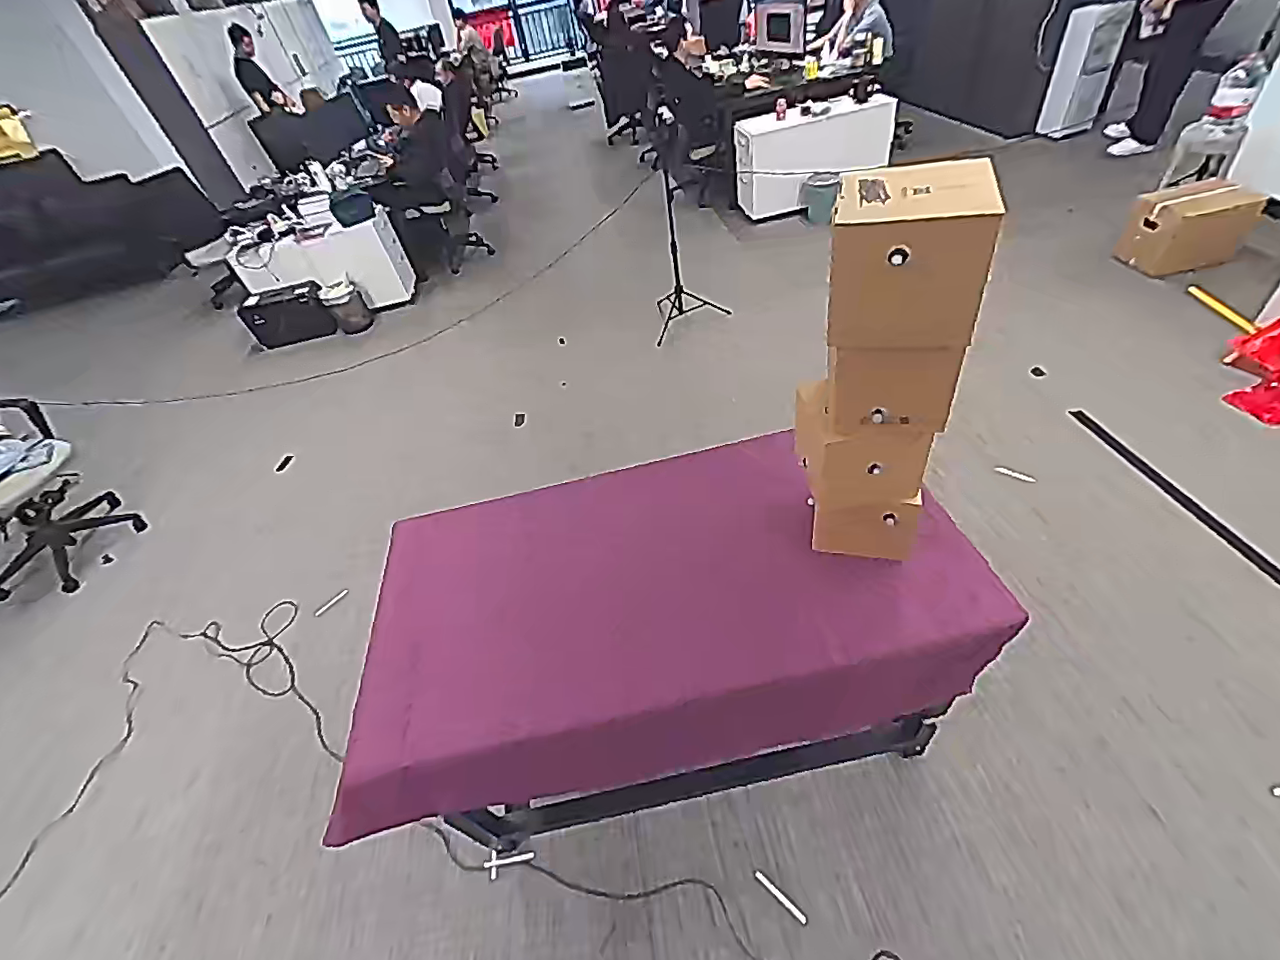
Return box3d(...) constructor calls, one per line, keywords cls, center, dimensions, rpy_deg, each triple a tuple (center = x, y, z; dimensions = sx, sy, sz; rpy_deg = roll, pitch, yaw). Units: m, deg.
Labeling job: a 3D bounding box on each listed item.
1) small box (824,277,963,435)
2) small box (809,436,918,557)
box3d(cls="small box", center=(0.375, -0.189, 0.834), dimensions=(0.168, 0.176, 0.179), rpy_deg=(1, 47, 17))
box3d(cls="small box", center=(0.434, 0.034, 1.066), dimensions=(0.179, 0.176, 0.168), rpy_deg=(5, 47, 18))
